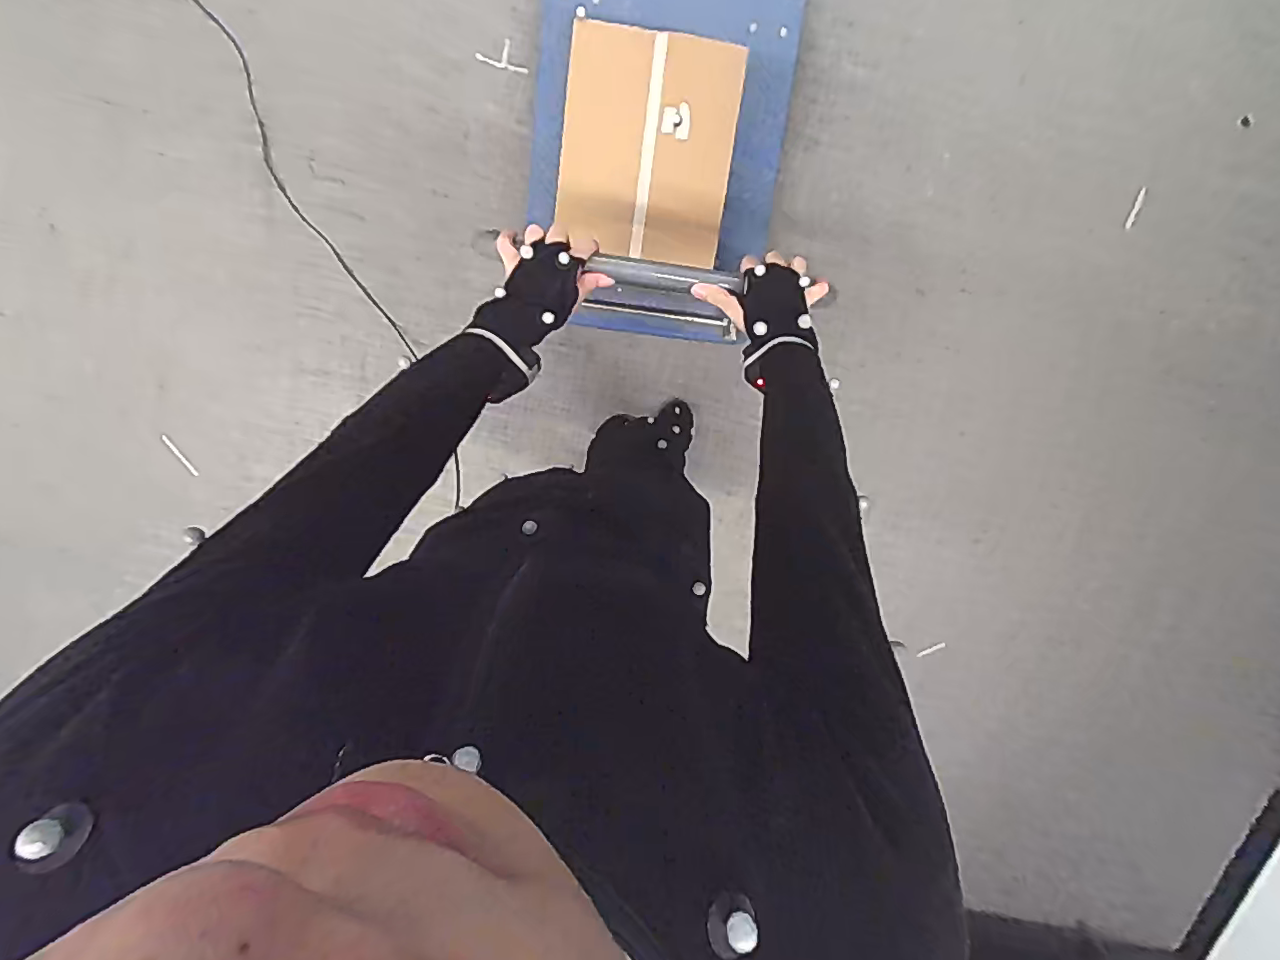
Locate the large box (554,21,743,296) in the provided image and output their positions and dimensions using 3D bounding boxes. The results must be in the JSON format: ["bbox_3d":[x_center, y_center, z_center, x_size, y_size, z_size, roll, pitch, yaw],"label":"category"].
[{"bbox_3d":[0.006,-0.629,1.144,0.320,0.320,0.408,7,102,-4],"label":"large box"}]
